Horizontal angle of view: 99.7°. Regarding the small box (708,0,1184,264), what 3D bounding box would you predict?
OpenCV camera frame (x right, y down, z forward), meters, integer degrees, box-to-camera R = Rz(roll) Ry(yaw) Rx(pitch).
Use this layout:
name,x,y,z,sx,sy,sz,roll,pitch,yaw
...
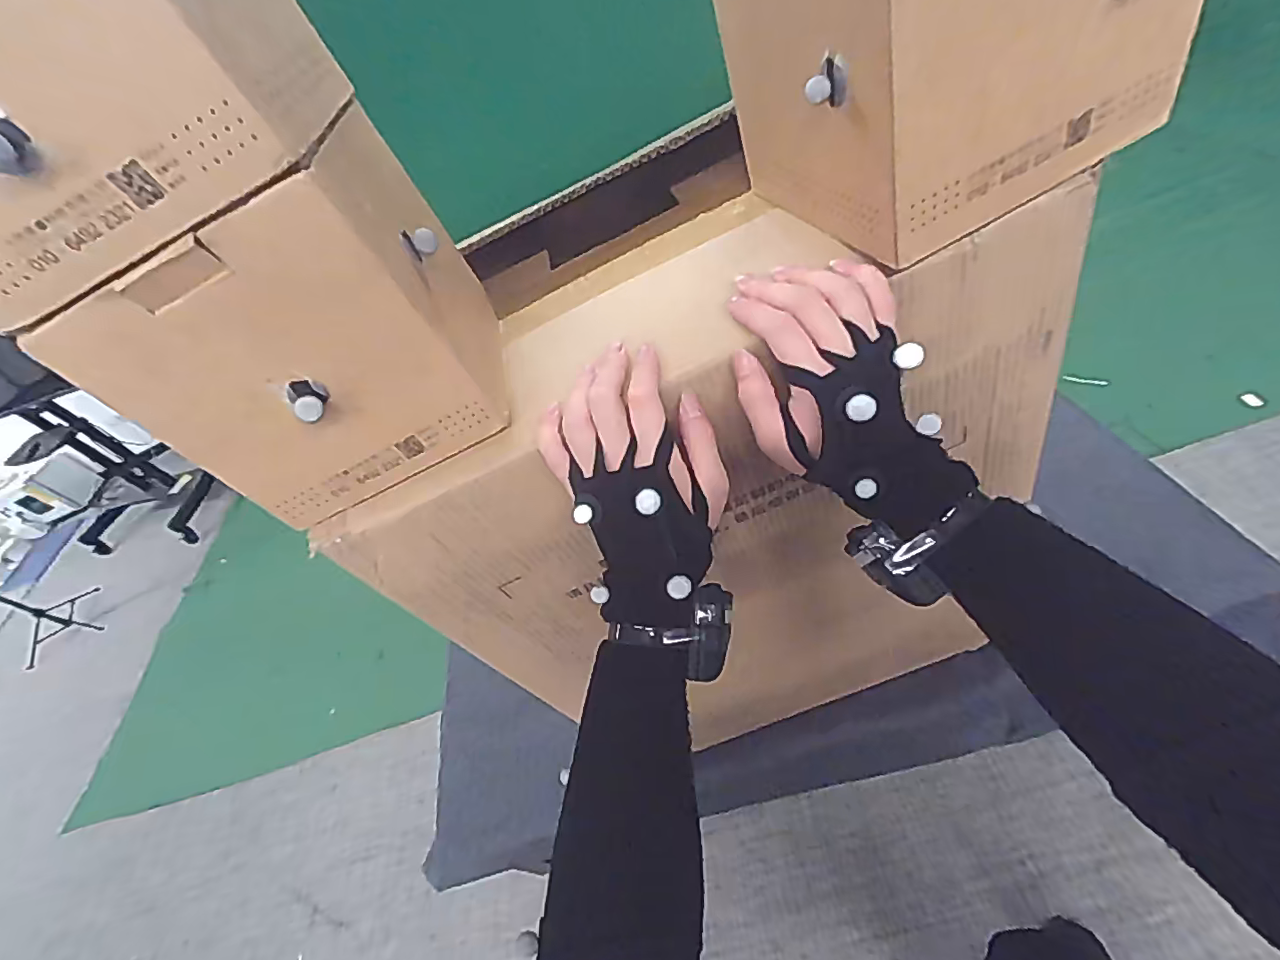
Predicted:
name,x,y,z,sx,sy,sz,roll,pitch,yaw
small box,0.156,-0.248,0.300,0.168,0.176,0.179,-28,44,1

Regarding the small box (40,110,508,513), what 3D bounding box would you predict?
name,x,y,z,sx,sy,sz,roll,pitch,yaw
small box,-0.203,-0.101,0.362,0.168,0.176,0.179,-26,45,6

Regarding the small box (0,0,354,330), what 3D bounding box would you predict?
name,x,y,z,sx,sy,sz,roll,pitch,yaw
small box,-0.264,-0.201,0.246,0.168,0.176,0.179,-26,45,7
